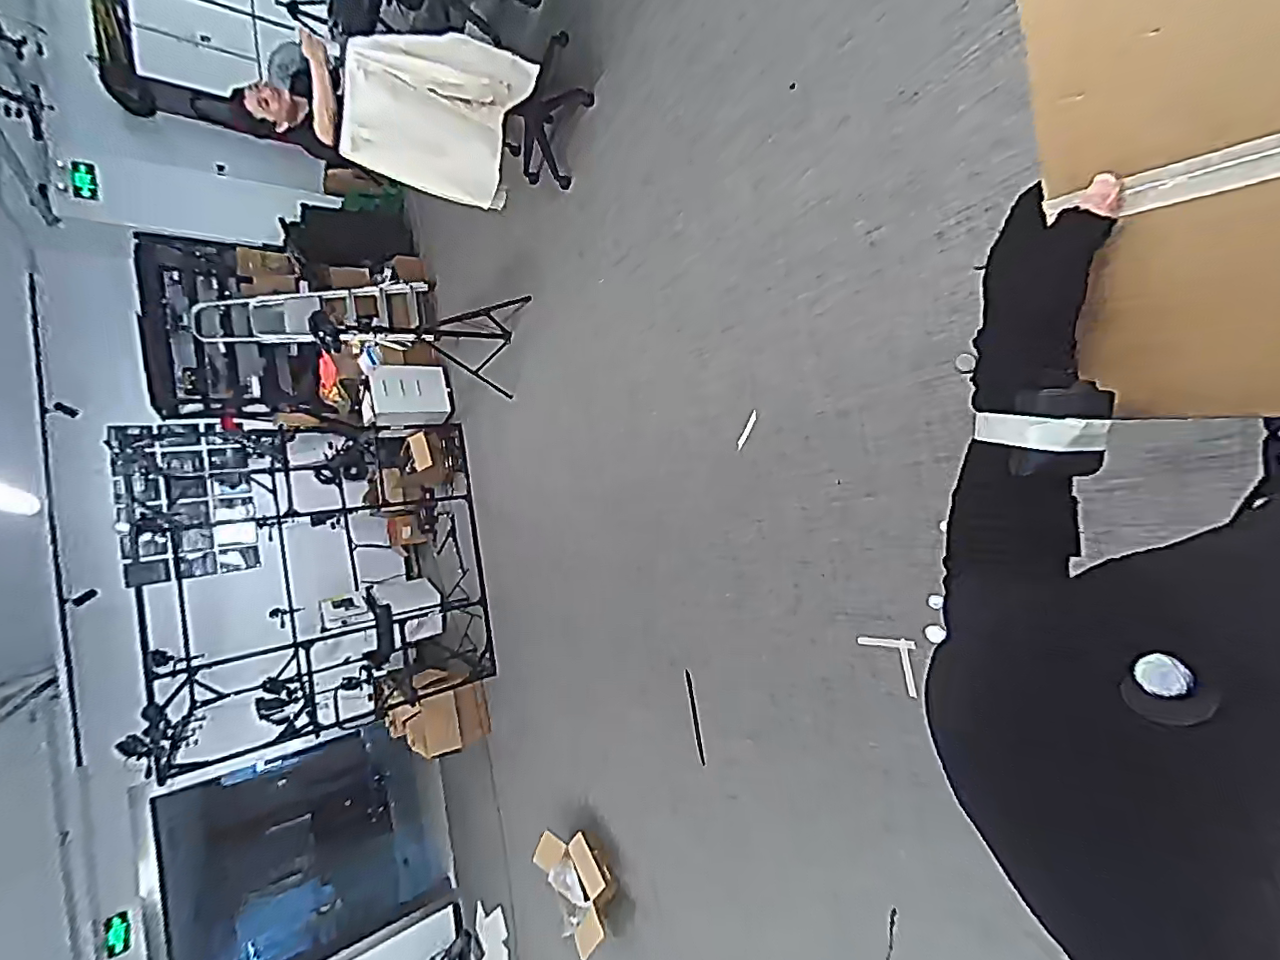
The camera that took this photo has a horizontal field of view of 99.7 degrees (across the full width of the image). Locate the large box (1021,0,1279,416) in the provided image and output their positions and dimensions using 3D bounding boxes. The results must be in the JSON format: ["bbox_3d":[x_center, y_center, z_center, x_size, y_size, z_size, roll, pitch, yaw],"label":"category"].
[{"bbox_3d":[0.499,-0.251,0.273,0.408,0.320,0.320,5,130,53],"label":"large box"}]
